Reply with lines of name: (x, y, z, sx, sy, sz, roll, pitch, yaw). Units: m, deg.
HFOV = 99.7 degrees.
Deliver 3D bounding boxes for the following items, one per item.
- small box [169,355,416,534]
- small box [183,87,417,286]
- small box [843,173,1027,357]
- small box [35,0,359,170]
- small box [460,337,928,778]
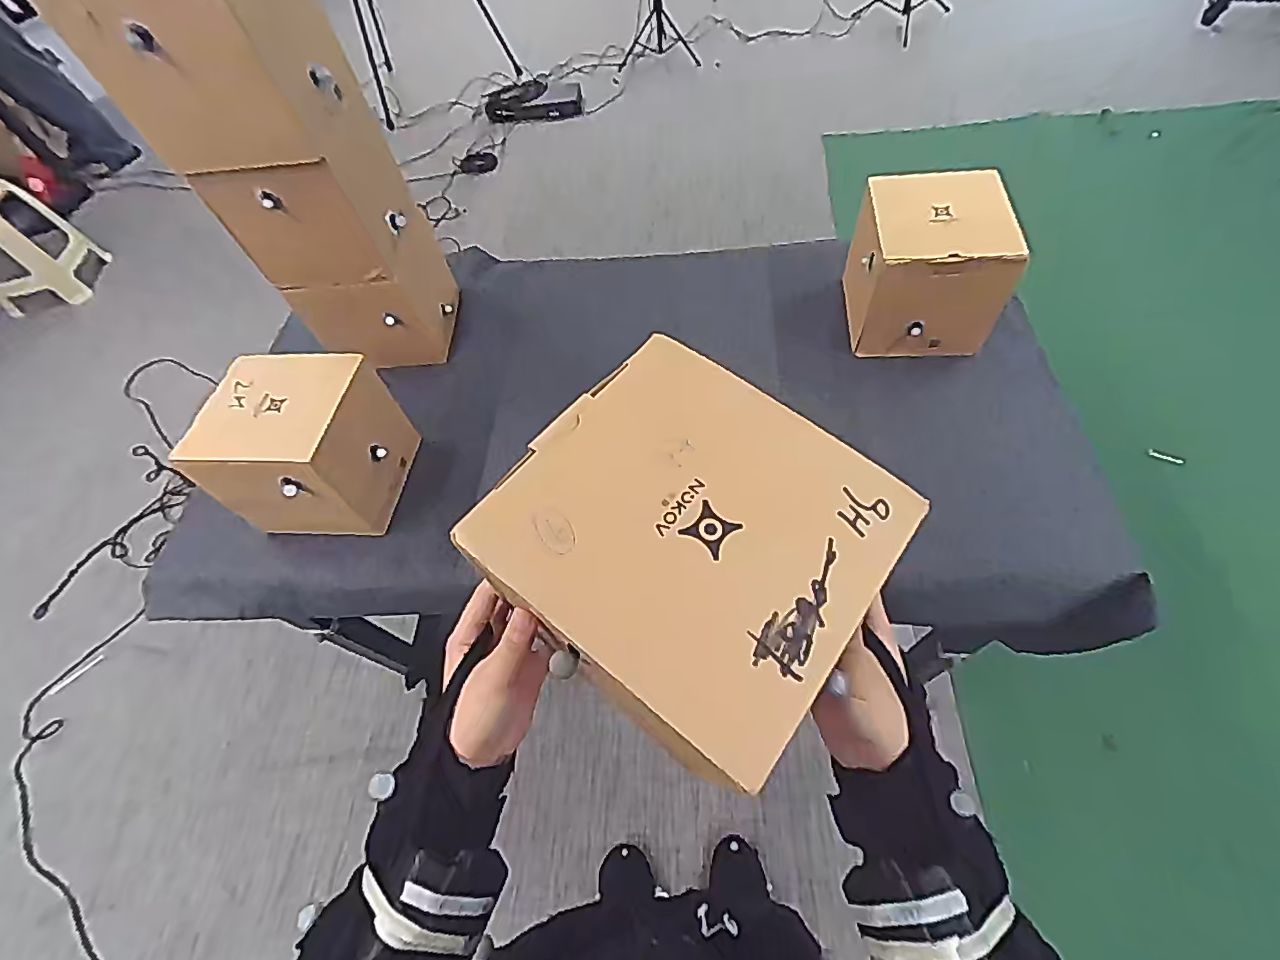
small box: (-0.419, -0.040, 0.693, 0.179, 0.176, 0.168, 1, 56, 7)
small box: (-0.426, -0.377, 0.713, 0.179, 0.176, 0.168, -4, 61, 3)
small box: (0.390, -0.295, 0.754, 0.168, 0.176, 0.179, 1, 60, 8)
small box: (-0.439, -0.453, 0.568, 0.179, 0.176, 0.168, -2, 61, 4)
small box: (0.026, 0.055, 0.335, 0.179, 0.176, 0.168, 36, 68, 15)
